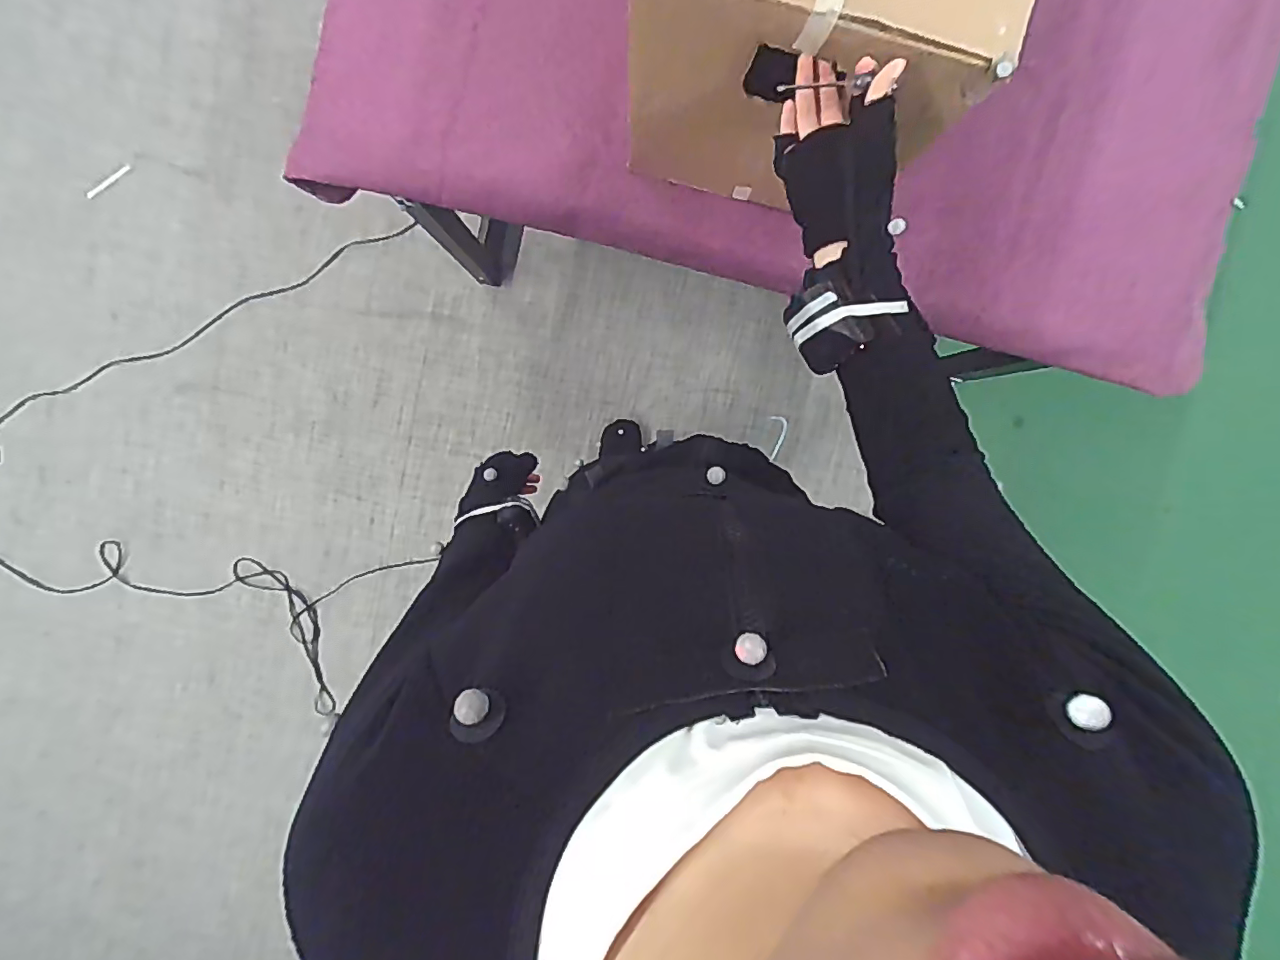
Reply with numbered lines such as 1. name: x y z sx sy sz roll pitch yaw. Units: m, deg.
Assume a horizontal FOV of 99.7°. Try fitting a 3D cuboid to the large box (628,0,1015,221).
1. large box: 0.180 -0.563 0.567 0.320 0.320 0.408 14 94 -2
